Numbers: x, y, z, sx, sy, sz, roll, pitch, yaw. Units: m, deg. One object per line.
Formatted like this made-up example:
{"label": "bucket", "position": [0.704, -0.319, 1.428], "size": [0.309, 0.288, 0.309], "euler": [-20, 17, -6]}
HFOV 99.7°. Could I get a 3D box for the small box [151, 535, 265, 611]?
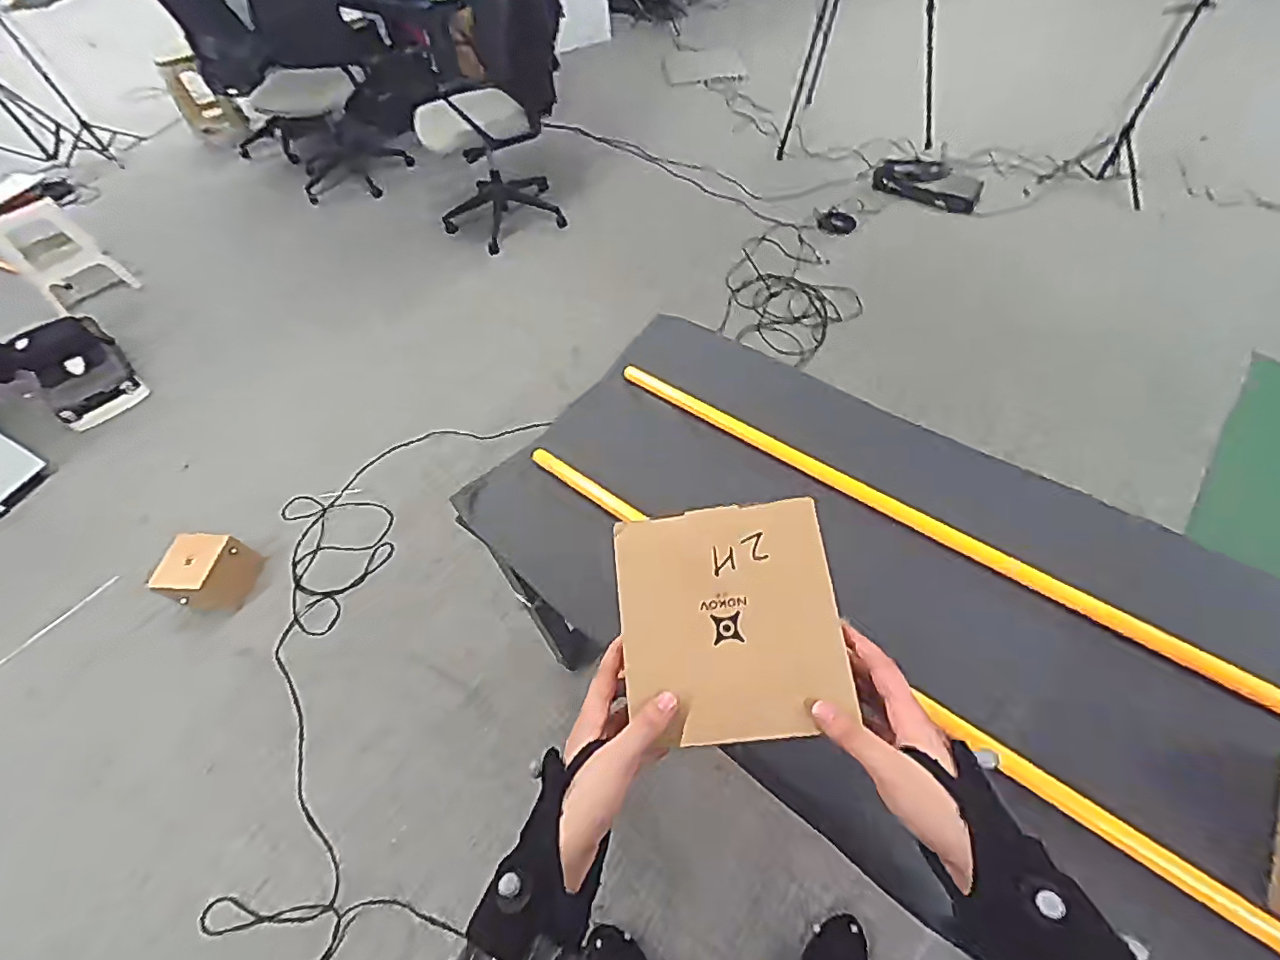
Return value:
{"label": "small box", "position": [-1.275, 0.282, 1.614], "size": [0.168, 0.176, 0.179], "euler": [0, 54, 5]}
